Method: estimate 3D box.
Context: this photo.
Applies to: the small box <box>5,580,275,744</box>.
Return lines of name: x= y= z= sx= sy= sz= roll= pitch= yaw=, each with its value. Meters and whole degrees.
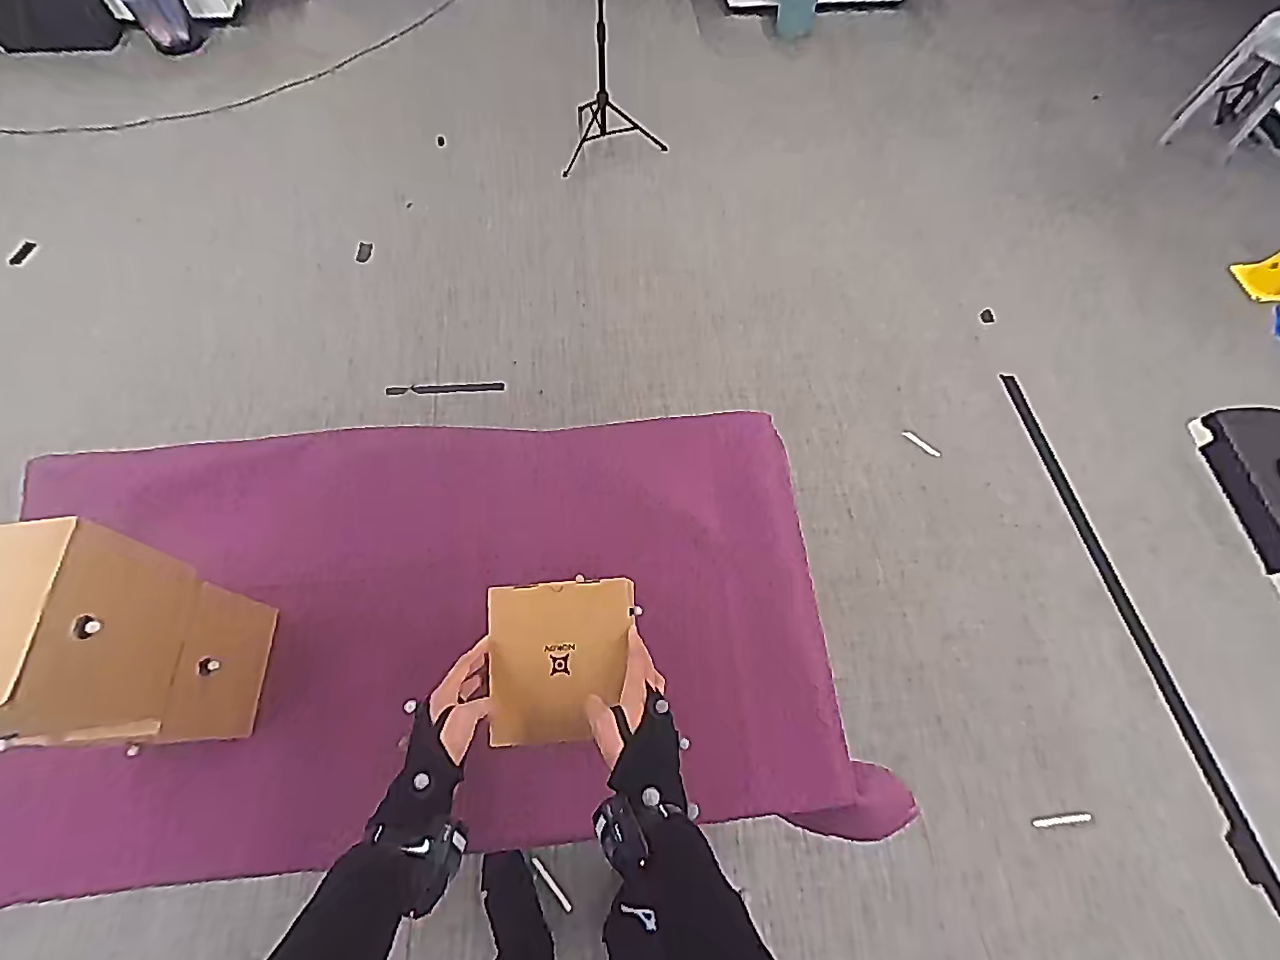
small box: x=-0.610 y=0.237 z=0.693 sx=0.168 sy=0.176 sz=0.179 roll=-2 pitch=64 yaw=-4

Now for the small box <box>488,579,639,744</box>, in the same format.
small box: x=-0.090 y=0.223 z=0.698 sx=0.168 sy=0.176 sz=0.179 roll=-4 pitch=76 yaw=0

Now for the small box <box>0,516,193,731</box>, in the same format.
small box: x=-0.609 y=0.154 z=0.550 sx=0.168 sy=0.176 sz=0.179 roll=-6 pitch=63 yaw=-5
